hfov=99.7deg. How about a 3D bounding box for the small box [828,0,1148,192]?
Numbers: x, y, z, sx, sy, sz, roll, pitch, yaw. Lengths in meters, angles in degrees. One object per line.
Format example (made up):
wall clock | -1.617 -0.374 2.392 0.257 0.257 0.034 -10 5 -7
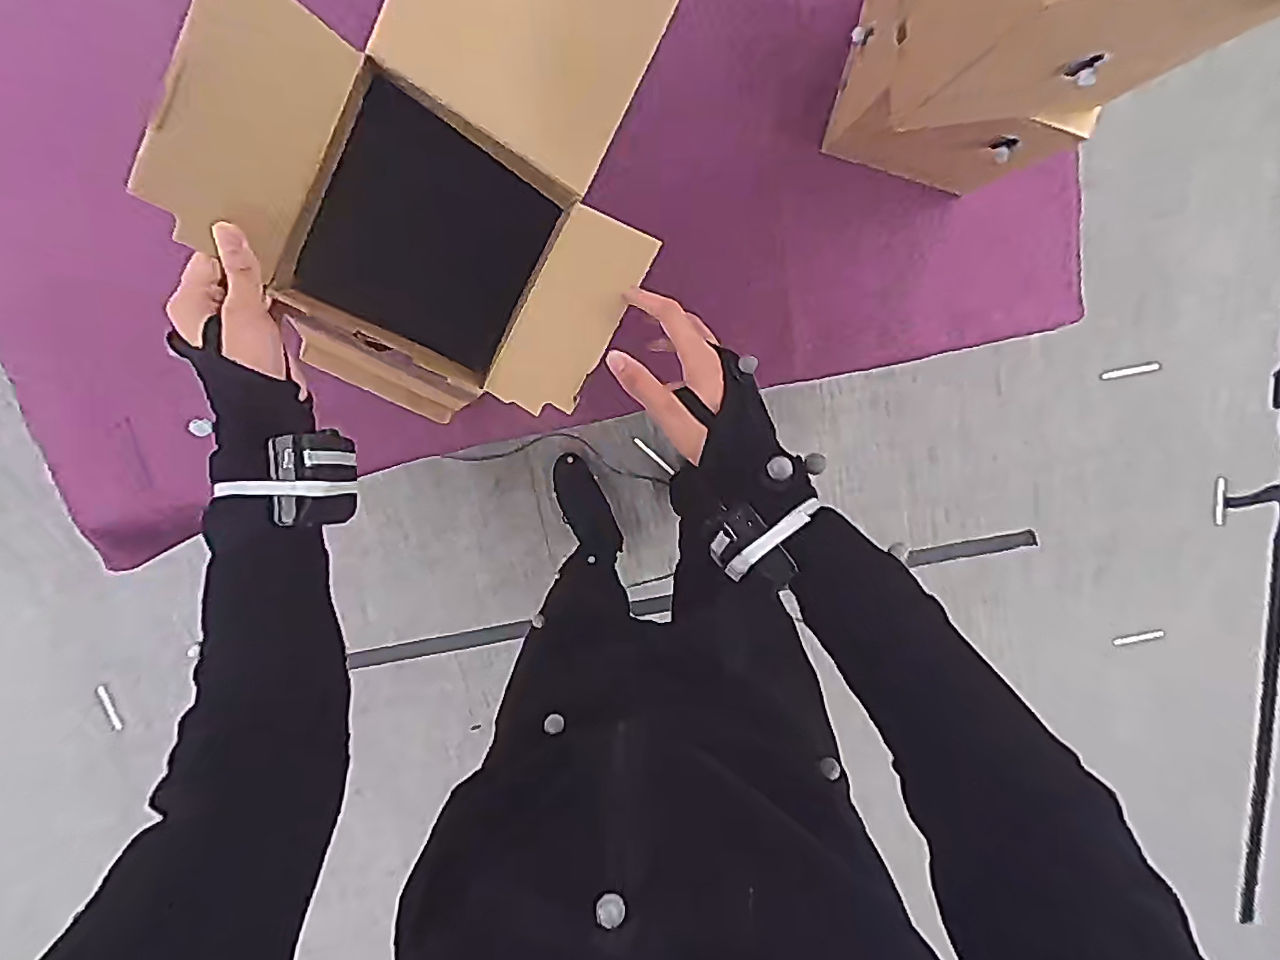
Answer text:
small box | 0.308 -0.392 0.503 0.179 0.176 0.168 14 101 -6
